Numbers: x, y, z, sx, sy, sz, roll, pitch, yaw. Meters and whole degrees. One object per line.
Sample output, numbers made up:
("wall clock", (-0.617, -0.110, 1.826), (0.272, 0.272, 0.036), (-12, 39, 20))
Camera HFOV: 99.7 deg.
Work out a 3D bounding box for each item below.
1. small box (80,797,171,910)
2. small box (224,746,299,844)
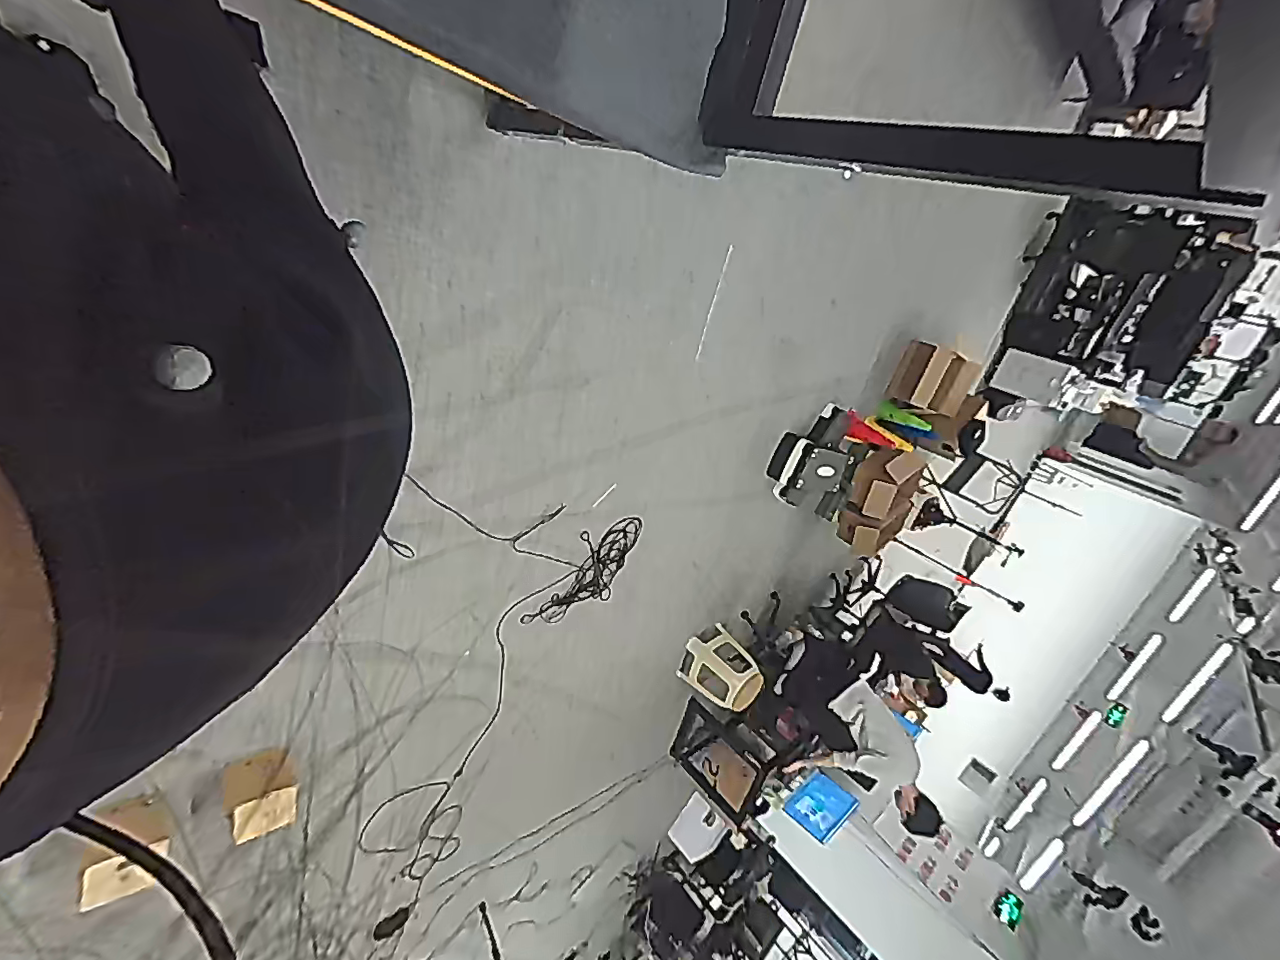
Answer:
("small box", (-1.432, 1.020, 1.502), (0.168, 0.176, 0.179), (4, 115, -48))
("small box", (-1.211, 0.997, 1.725), (0.168, 0.176, 0.179), (-5, 120, -46))
